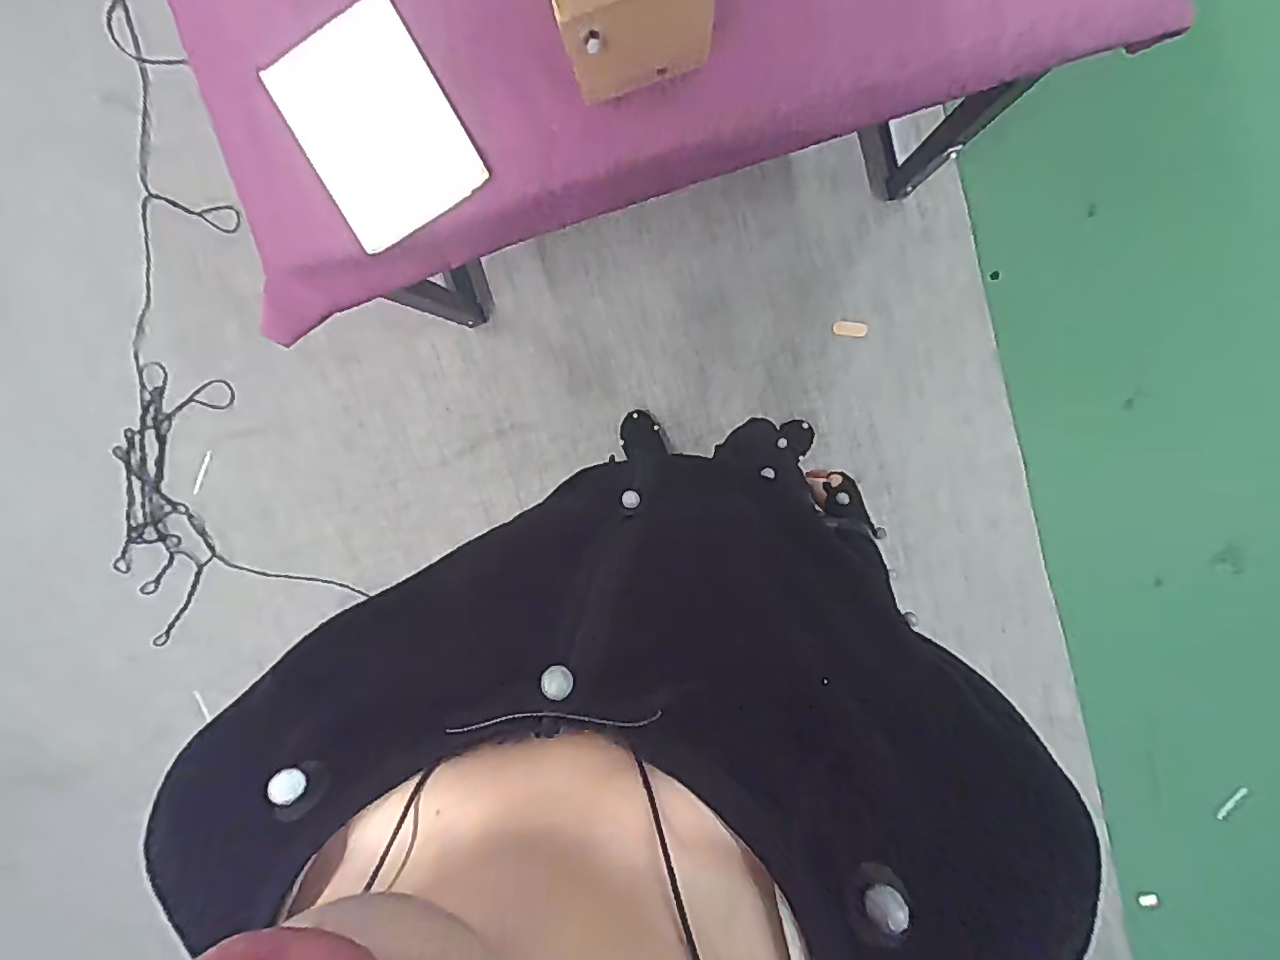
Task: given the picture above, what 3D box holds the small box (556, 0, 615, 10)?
[{"bbox_3d":[-0.029,-0.543,0.444,0.168,0.176,0.179,-15,95,6],"label":"small box"}]
